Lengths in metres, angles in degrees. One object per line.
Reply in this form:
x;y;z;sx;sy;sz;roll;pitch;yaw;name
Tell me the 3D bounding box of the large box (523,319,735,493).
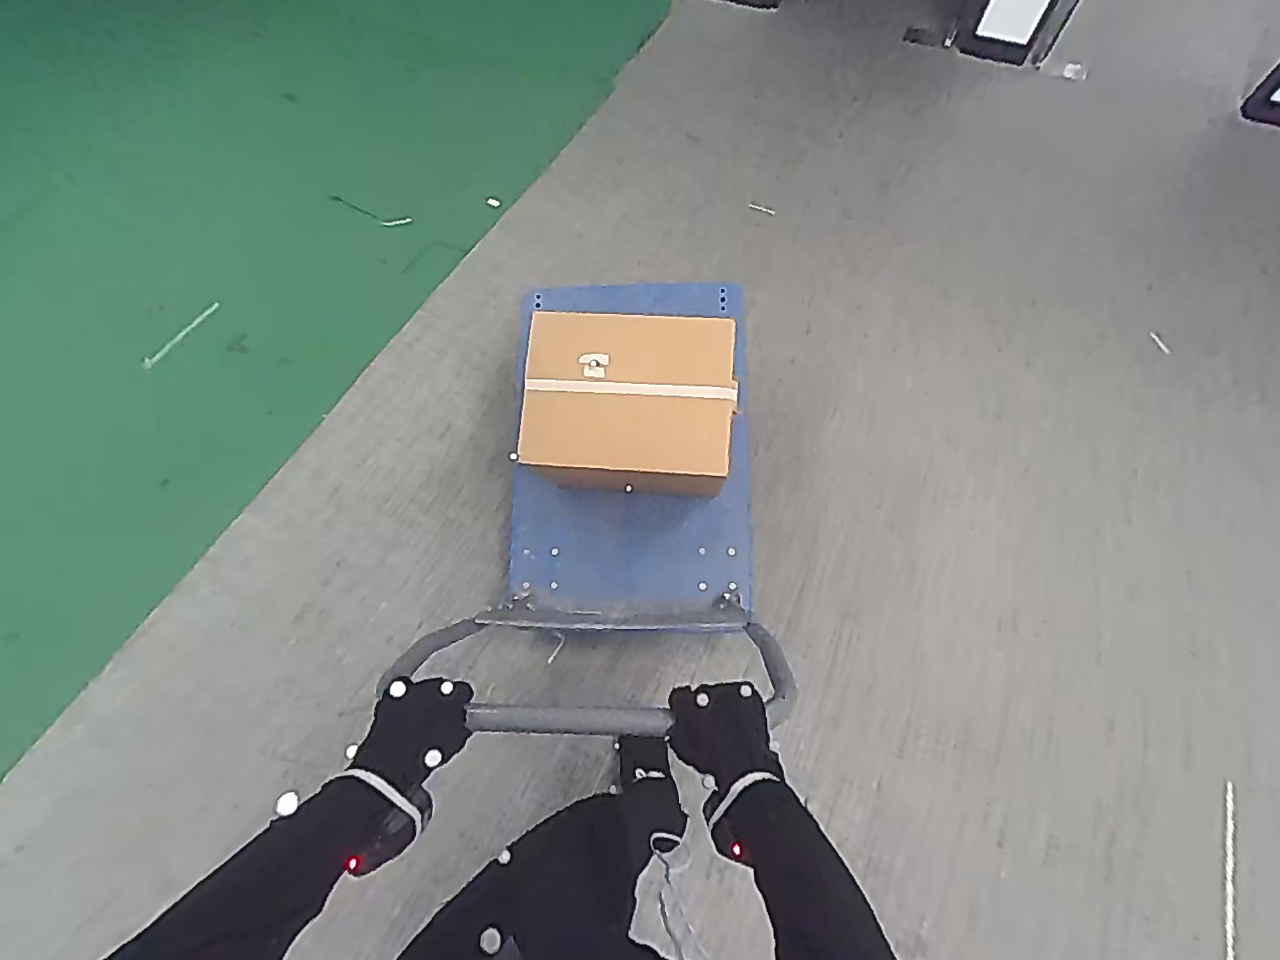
-0.005;-0.142;1.186;0.408;0.320;0.320;3;81;6;large box
